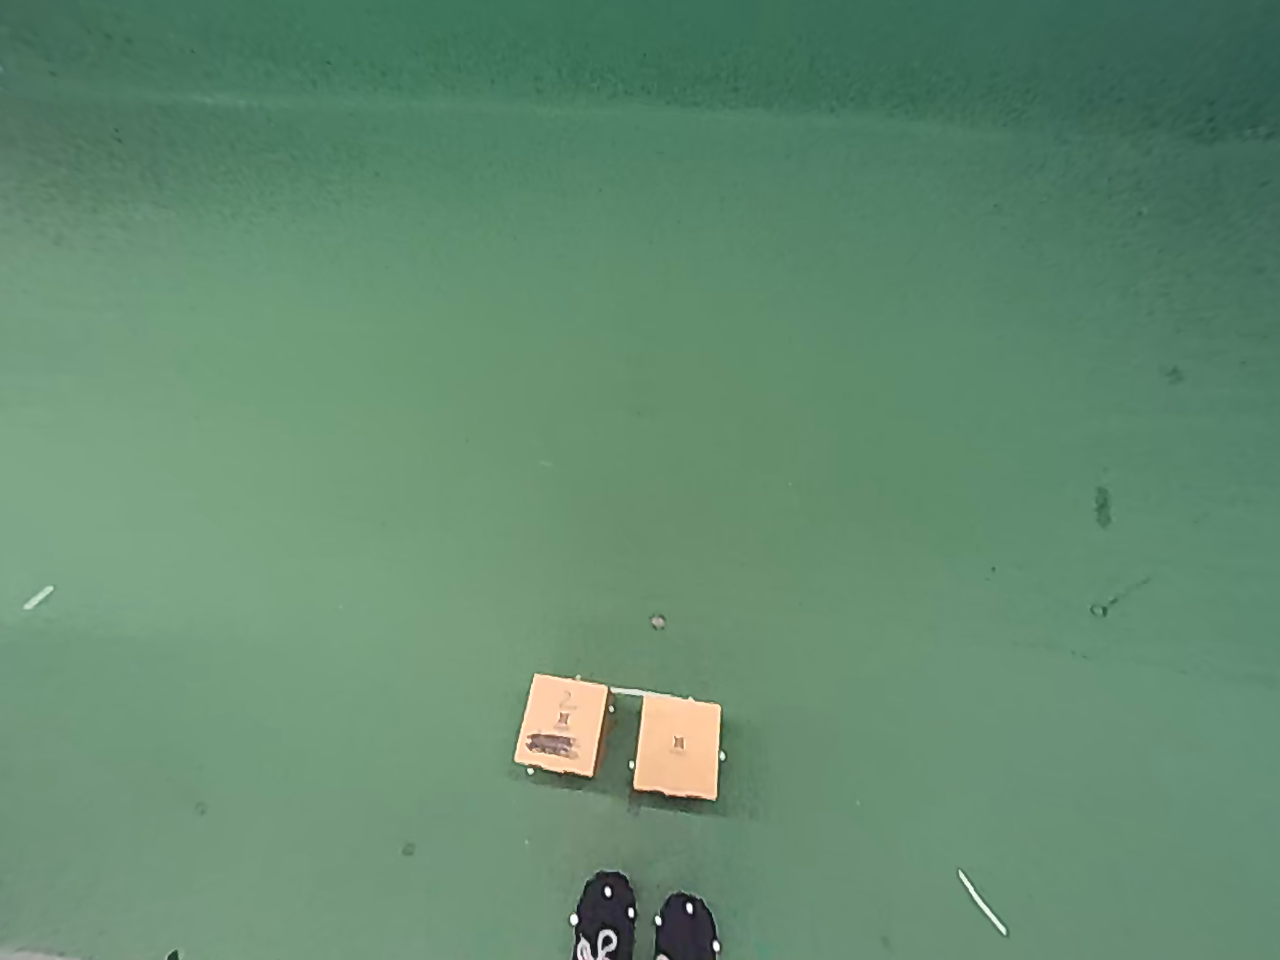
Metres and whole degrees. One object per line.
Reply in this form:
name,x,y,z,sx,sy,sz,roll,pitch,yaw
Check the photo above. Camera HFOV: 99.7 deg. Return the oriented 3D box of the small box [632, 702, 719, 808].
small box,0.075,0.592,1.167,0.168,0.176,0.179,6,62,4
